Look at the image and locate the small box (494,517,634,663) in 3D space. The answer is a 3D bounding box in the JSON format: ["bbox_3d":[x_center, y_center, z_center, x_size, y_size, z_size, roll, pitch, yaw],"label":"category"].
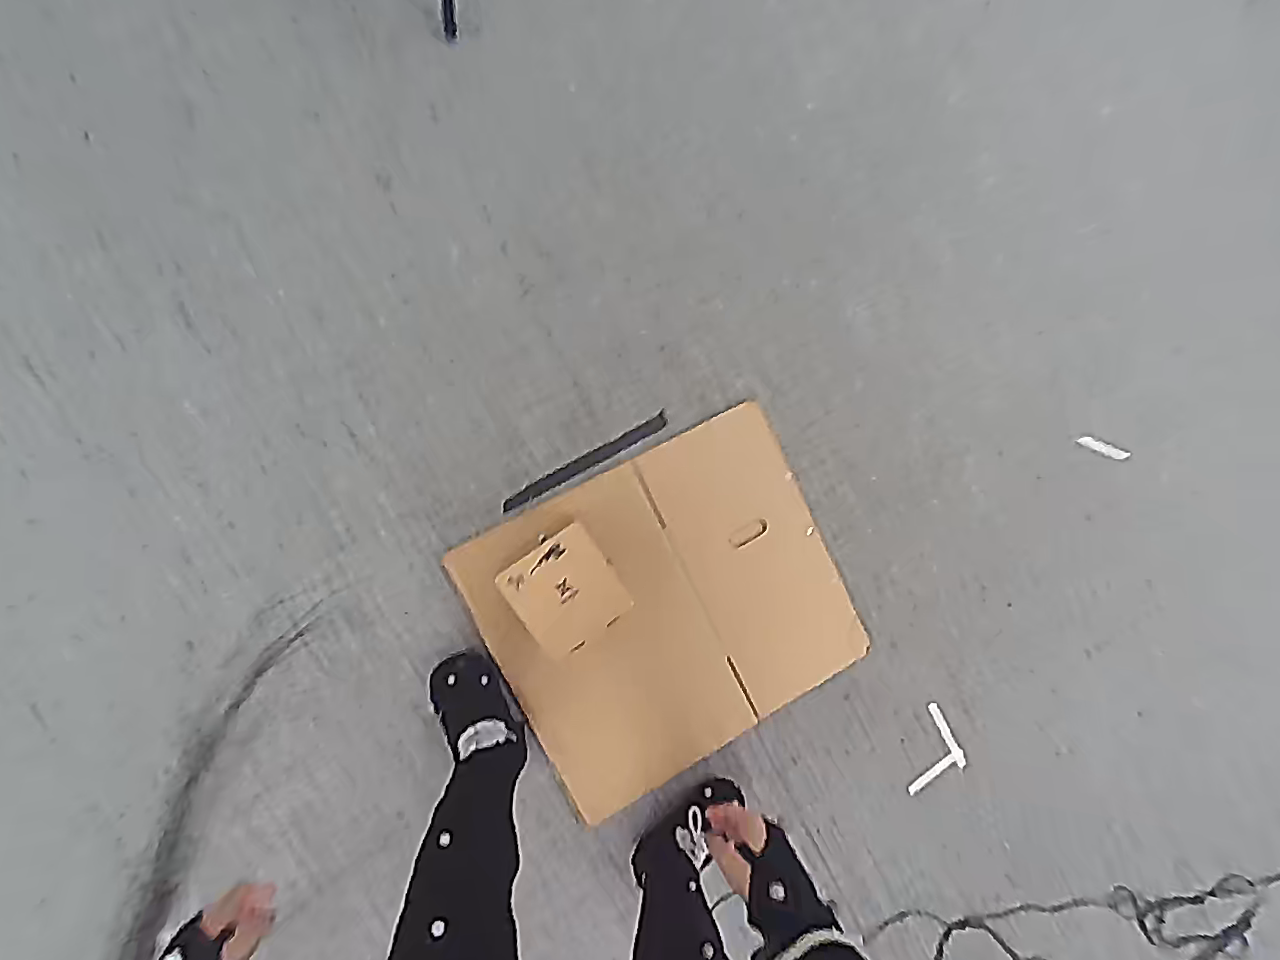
[{"bbox_3d":[-0.135,0.181,0.955,0.168,0.176,0.179,-35,97,-9],"label":"small box"}]
